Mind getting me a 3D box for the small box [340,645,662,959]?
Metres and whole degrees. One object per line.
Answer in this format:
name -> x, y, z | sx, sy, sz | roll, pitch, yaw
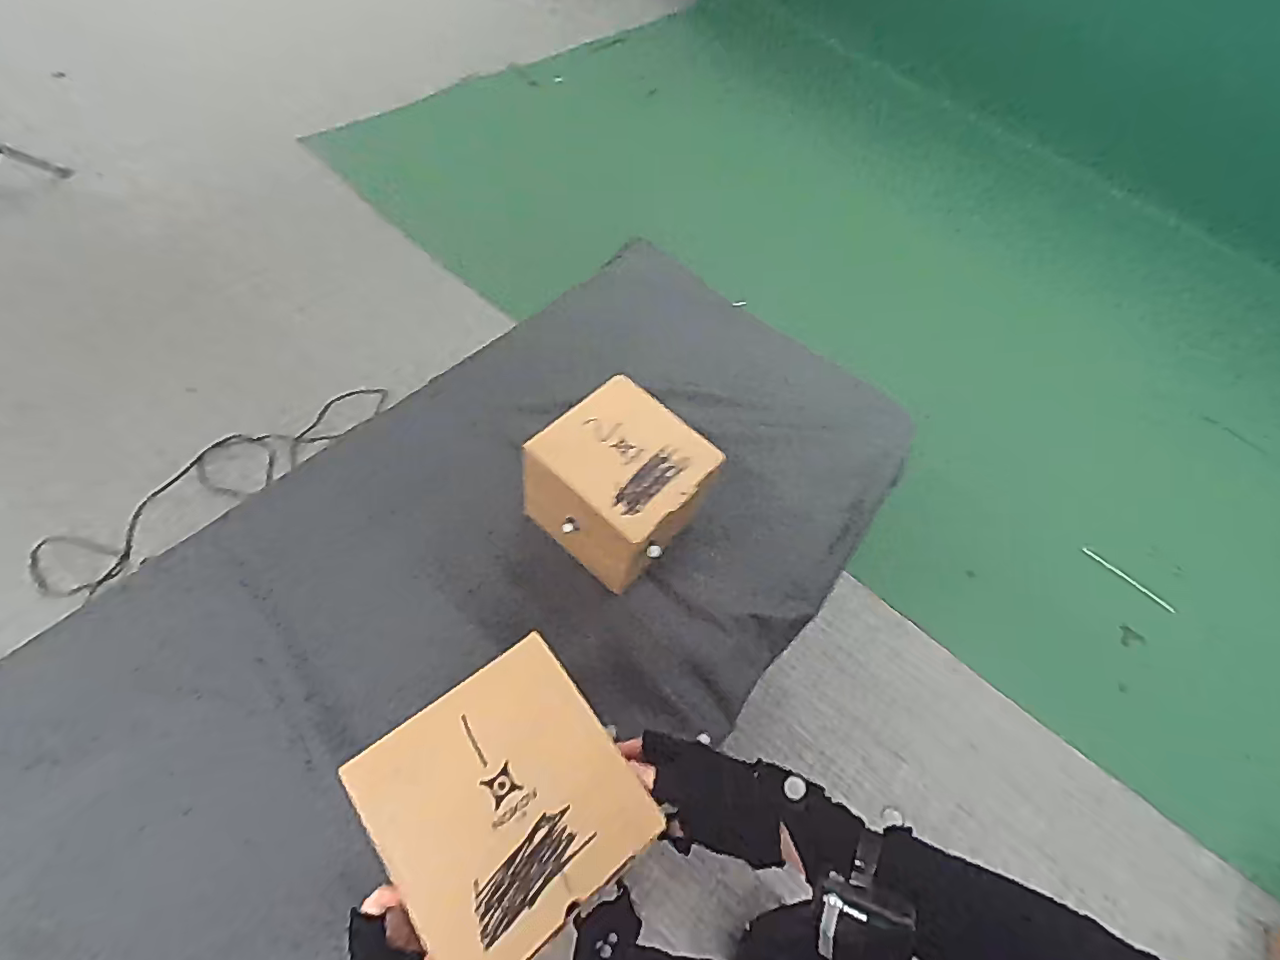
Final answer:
small box -> -0.109, 0.270, 0.449 | 0.168, 0.176, 0.179 | -30, 70, -25
